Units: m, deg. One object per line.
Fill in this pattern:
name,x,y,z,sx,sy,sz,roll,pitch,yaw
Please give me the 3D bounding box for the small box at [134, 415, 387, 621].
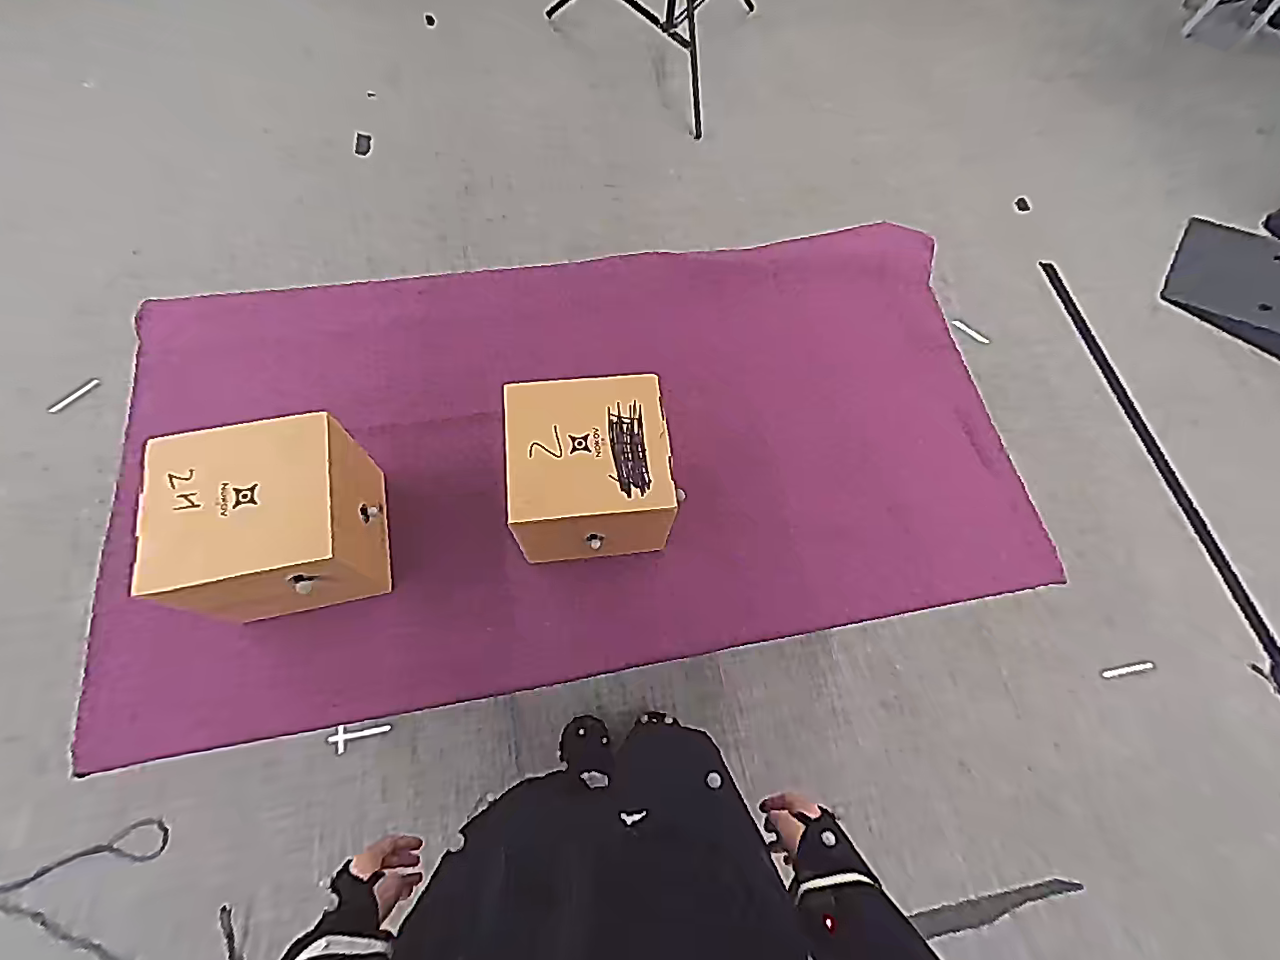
small box,-0.397,0.049,0.603,0.179,0.176,0.168,-11,68,-9
